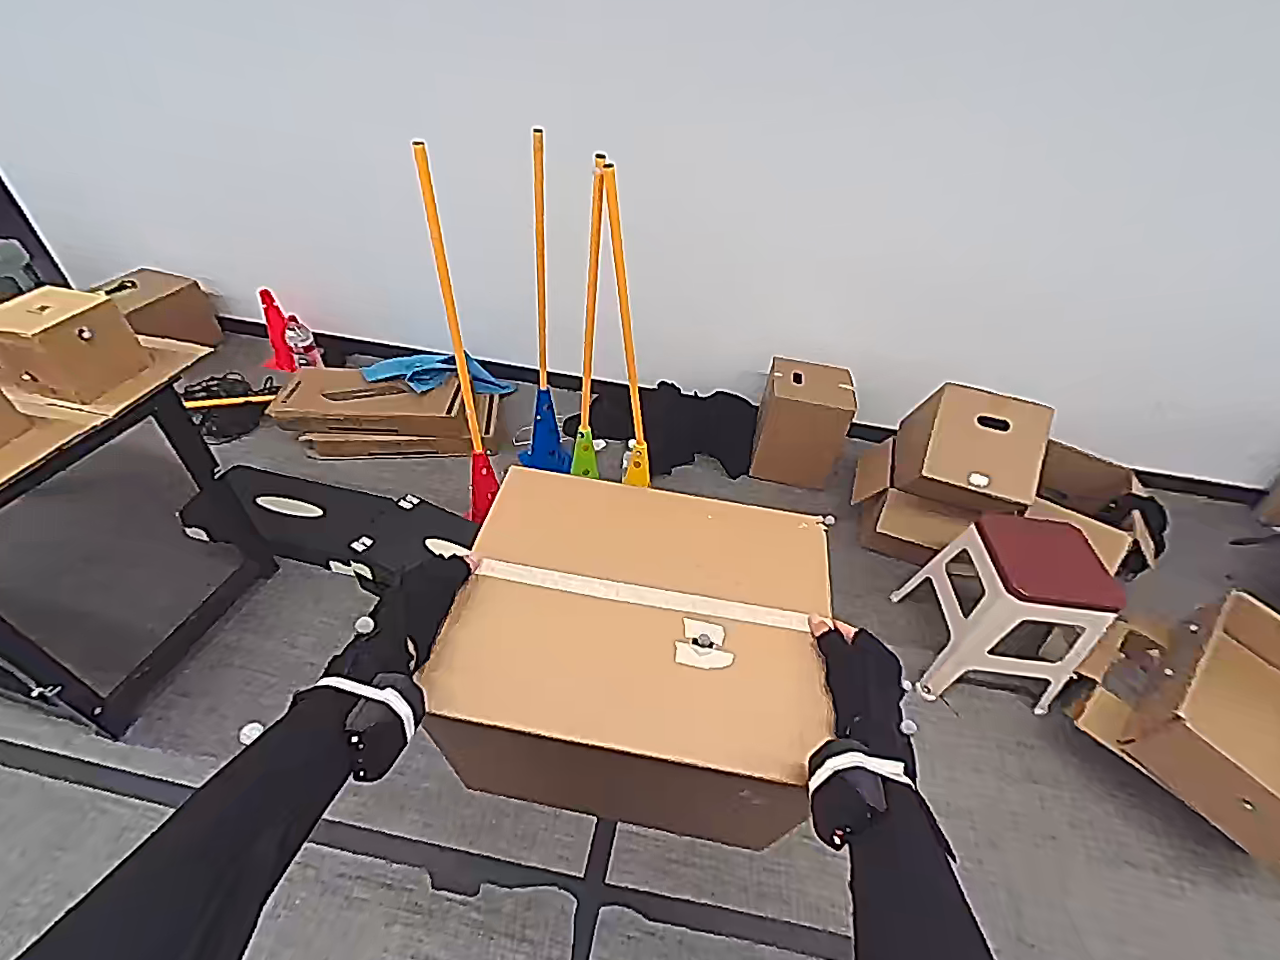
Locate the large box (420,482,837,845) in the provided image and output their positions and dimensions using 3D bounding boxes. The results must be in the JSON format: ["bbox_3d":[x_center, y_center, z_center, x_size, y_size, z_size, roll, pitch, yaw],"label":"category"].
[{"bbox_3d":[-0.006,0.241,0.710,0.408,0.320,0.320,10,48,3],"label":"large box"}]
